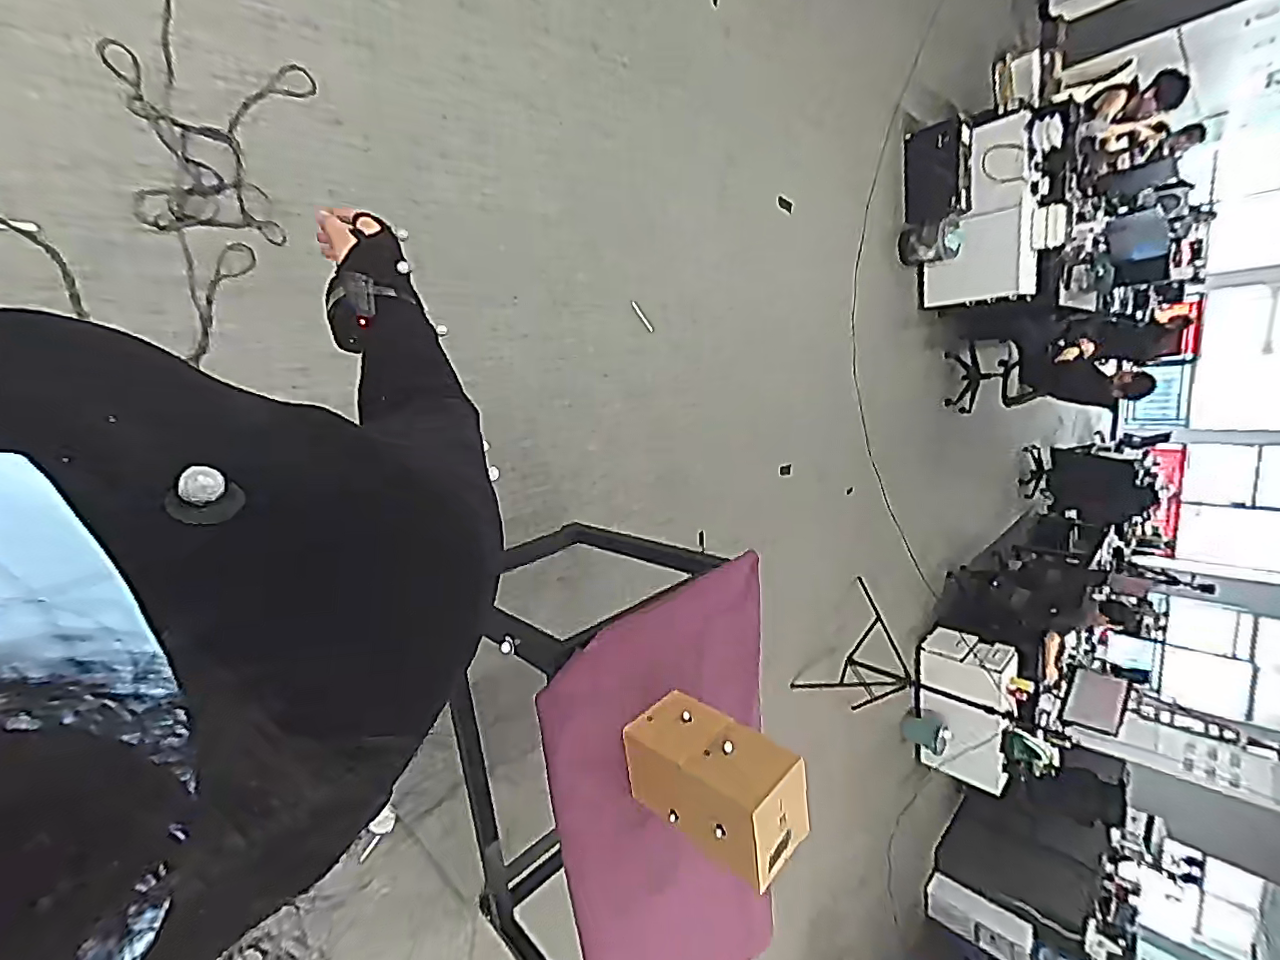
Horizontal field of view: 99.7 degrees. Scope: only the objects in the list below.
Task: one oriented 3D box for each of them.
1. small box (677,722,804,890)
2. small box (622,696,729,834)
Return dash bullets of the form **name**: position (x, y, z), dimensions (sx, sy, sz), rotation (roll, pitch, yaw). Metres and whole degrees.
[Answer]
- **small box**: position (0.188, 0.600, 1.020), dimensions (0.168, 0.176, 0.179), rotation (-20, 108, -41)
- **small box**: position (0.078, 0.584, 1.142), dimensions (0.168, 0.176, 0.179), rotation (-20, 109, -41)
